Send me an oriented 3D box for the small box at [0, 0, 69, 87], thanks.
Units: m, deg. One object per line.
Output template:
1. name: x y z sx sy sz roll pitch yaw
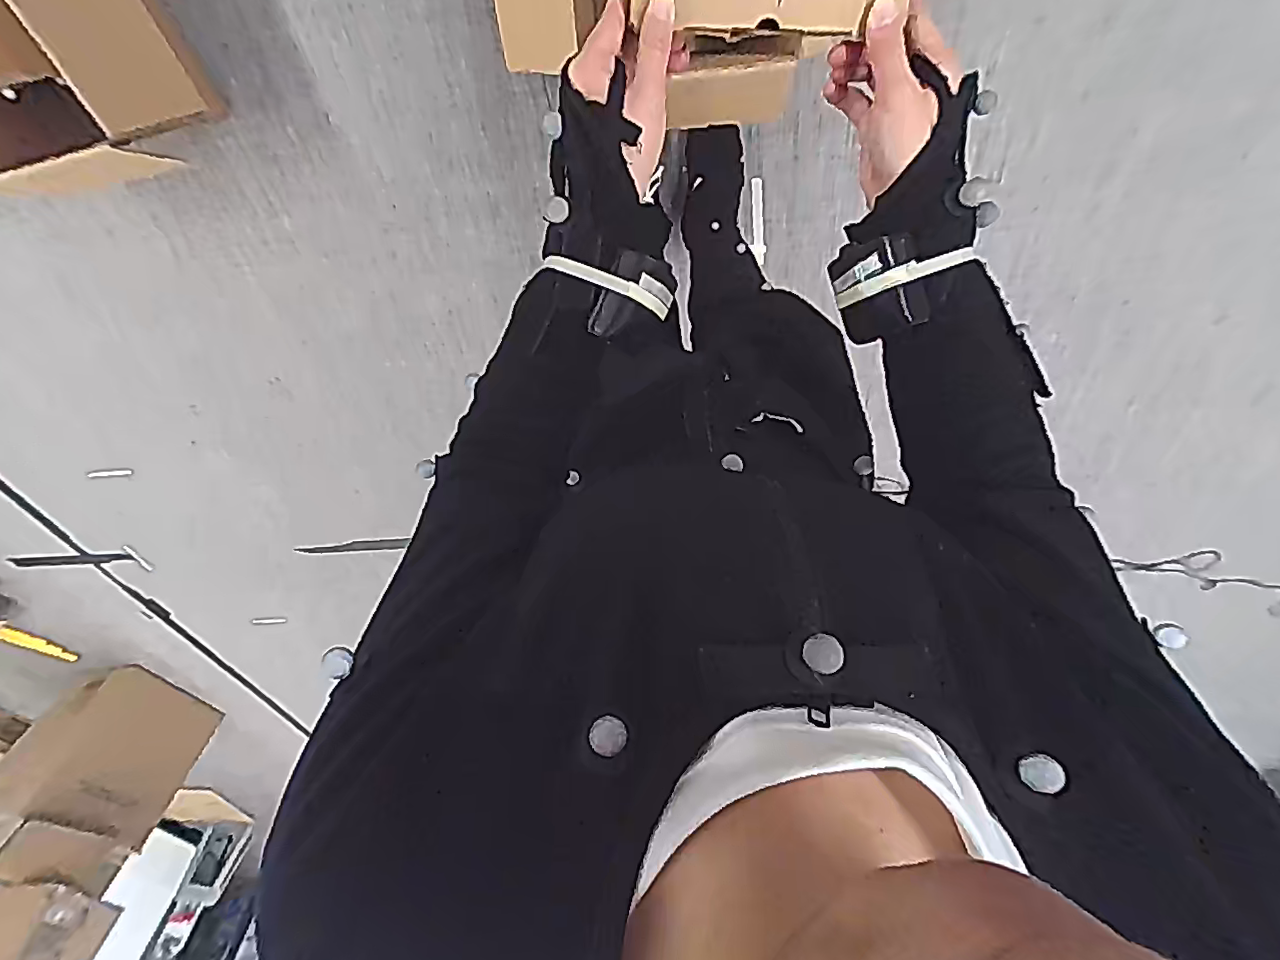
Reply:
1. small box: -1.001 -0.662 0.760 0.168 0.176 0.179 -5 131 9

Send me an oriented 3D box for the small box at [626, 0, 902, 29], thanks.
1. small box: 0.076 -0.393 0.321 0.168 0.176 0.179 0 134 -1
